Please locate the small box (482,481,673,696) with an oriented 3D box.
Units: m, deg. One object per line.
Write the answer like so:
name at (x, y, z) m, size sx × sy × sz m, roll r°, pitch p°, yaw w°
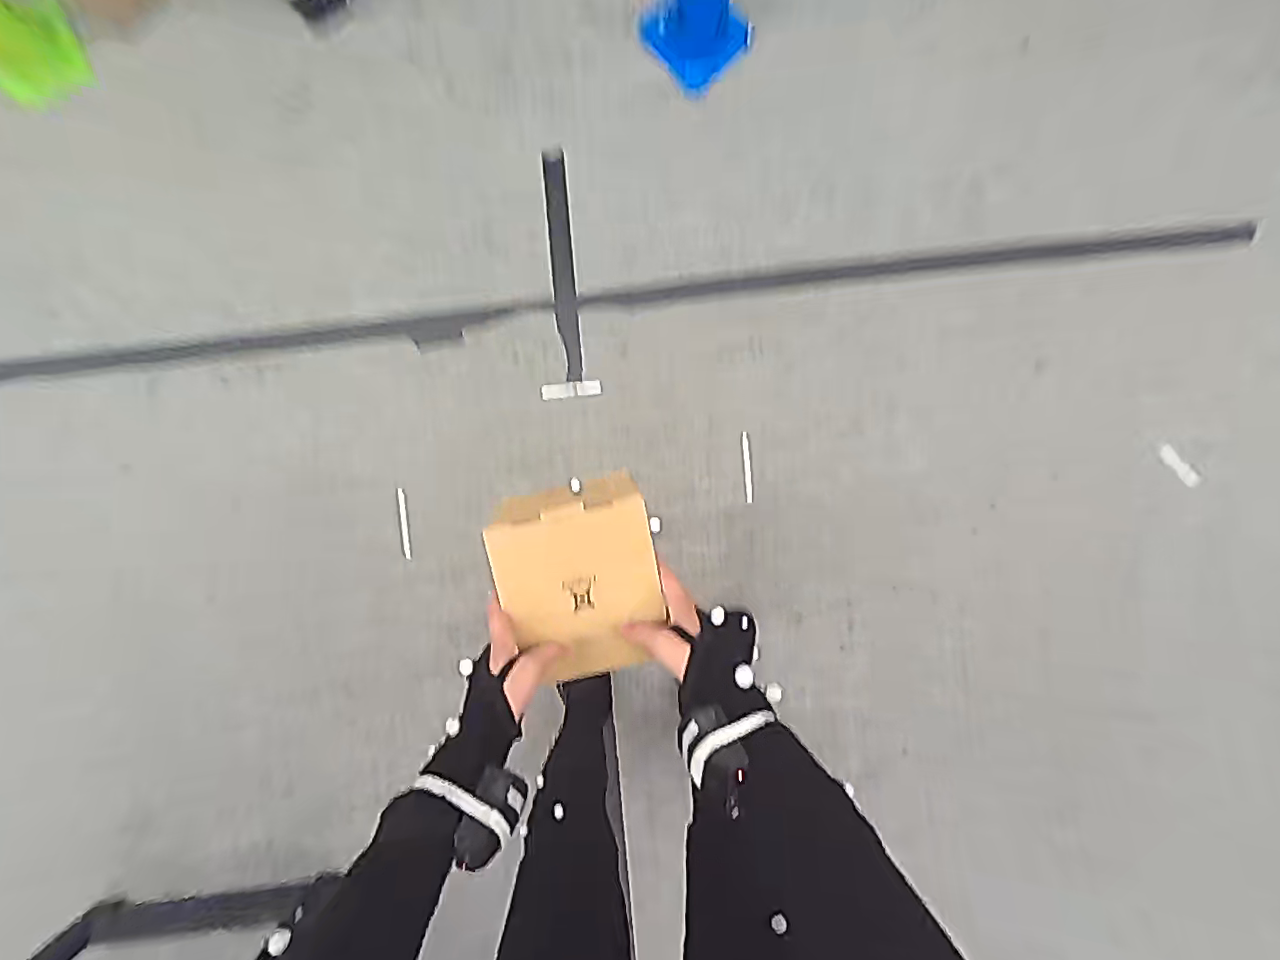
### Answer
small box at (-0.065, 0.110, 0.619) m, size 0.168 × 0.176 × 0.179 m, roll -12°, pitch 99°, yaw -4°
